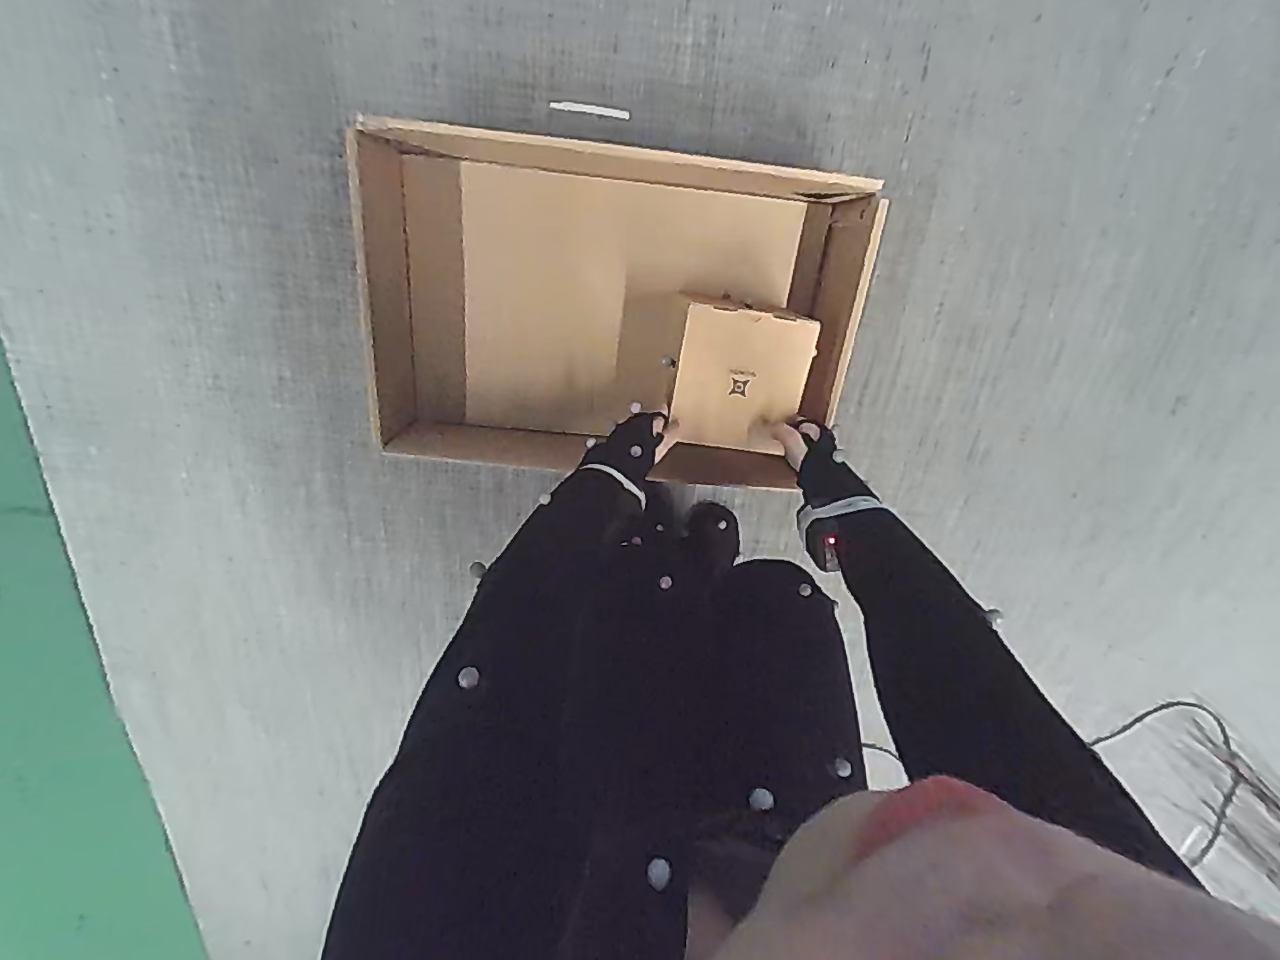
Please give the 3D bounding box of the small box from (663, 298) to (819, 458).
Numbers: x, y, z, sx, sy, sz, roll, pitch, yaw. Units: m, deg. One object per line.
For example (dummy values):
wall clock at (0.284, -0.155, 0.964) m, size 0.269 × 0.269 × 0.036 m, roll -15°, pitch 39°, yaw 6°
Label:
small box at (0.126, -0.149, 0.758) m, size 0.168 × 0.176 × 0.179 m, roll 7°, pitch 111°, yaw -4°
